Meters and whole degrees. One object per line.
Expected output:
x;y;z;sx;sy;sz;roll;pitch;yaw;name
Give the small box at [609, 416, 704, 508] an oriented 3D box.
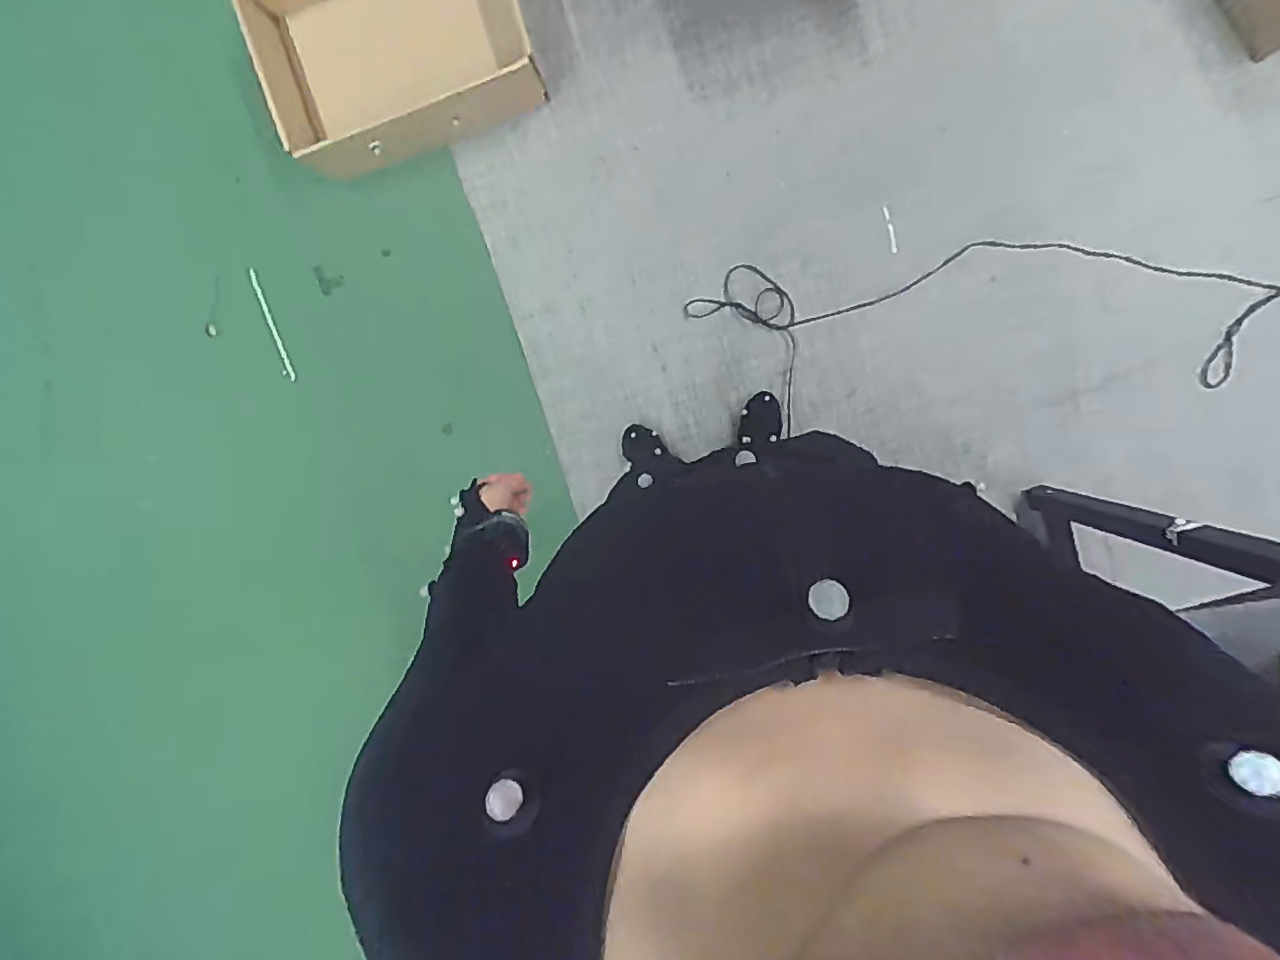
0.045;-0.039;1.380;0.176;0.168;0.179;18;74;-26;small box
